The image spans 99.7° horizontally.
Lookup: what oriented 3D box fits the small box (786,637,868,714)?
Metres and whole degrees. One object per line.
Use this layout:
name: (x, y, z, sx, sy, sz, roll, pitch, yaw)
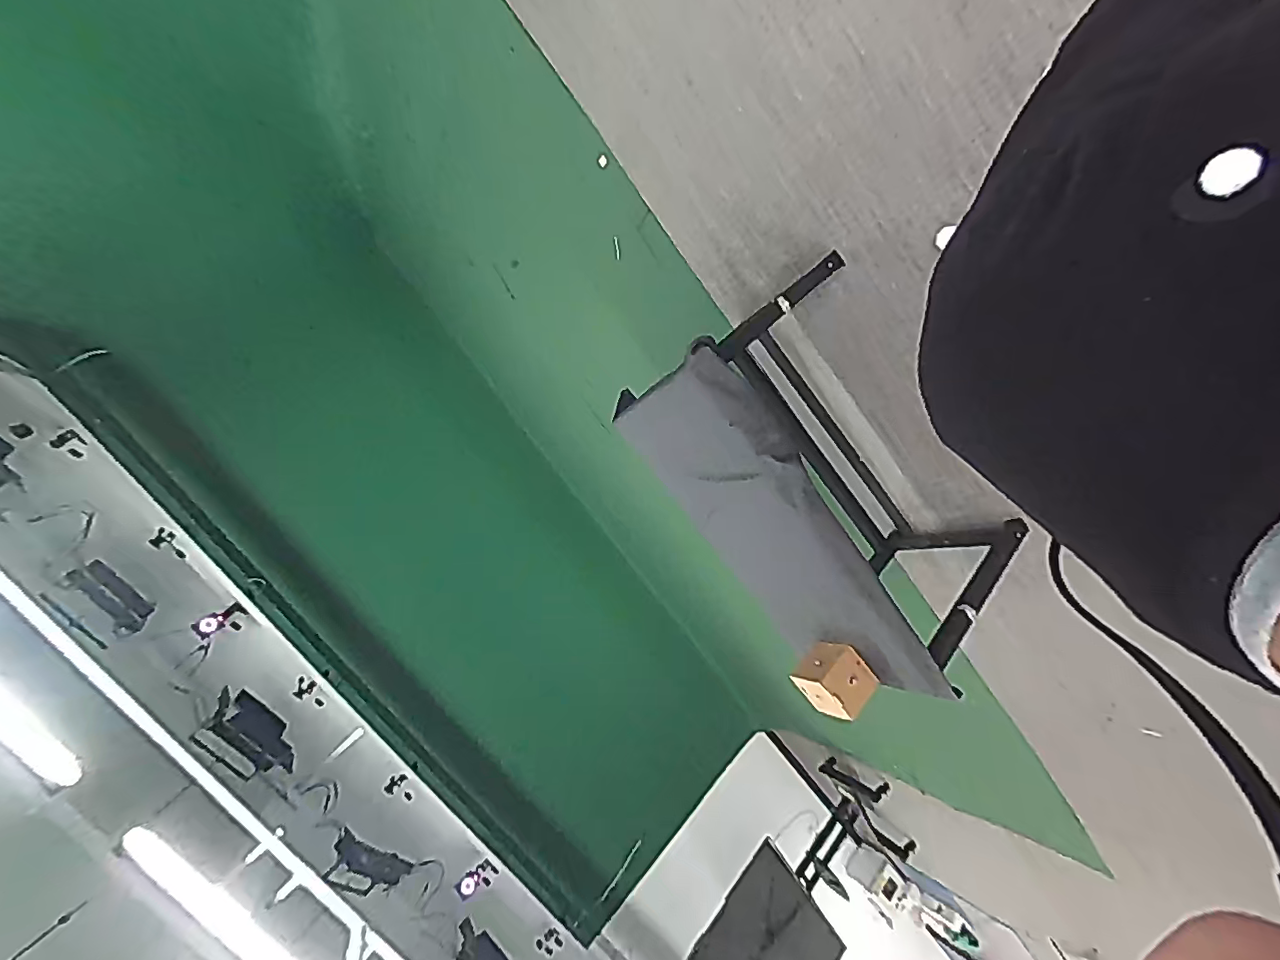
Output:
small box: (0.634, 0.648, 1.812, 0.168, 0.176, 0.179, 50, 157, -4)
